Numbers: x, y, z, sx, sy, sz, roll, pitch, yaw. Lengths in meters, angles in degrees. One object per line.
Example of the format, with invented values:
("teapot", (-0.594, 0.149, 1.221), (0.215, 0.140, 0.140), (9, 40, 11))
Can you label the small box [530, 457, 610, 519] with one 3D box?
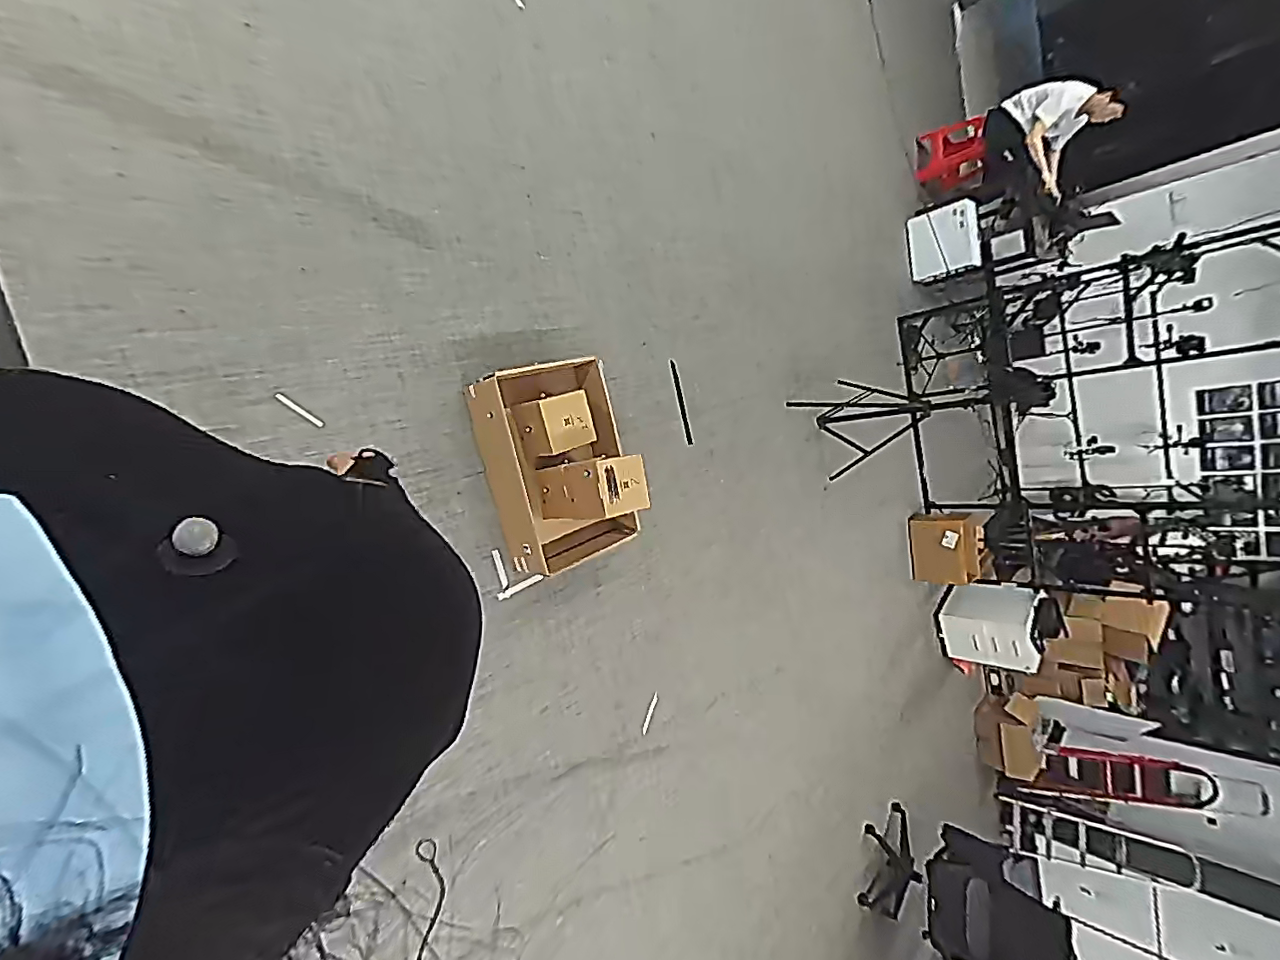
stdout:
("small box", (-0.227, 0.026, 1.738), (0.179, 0.176, 0.168), (-15, 96, -42))

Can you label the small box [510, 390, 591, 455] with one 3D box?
("small box", (-0.285, -0.177, 1.687), (0.179, 0.176, 0.168), (-24, 106, -41))
